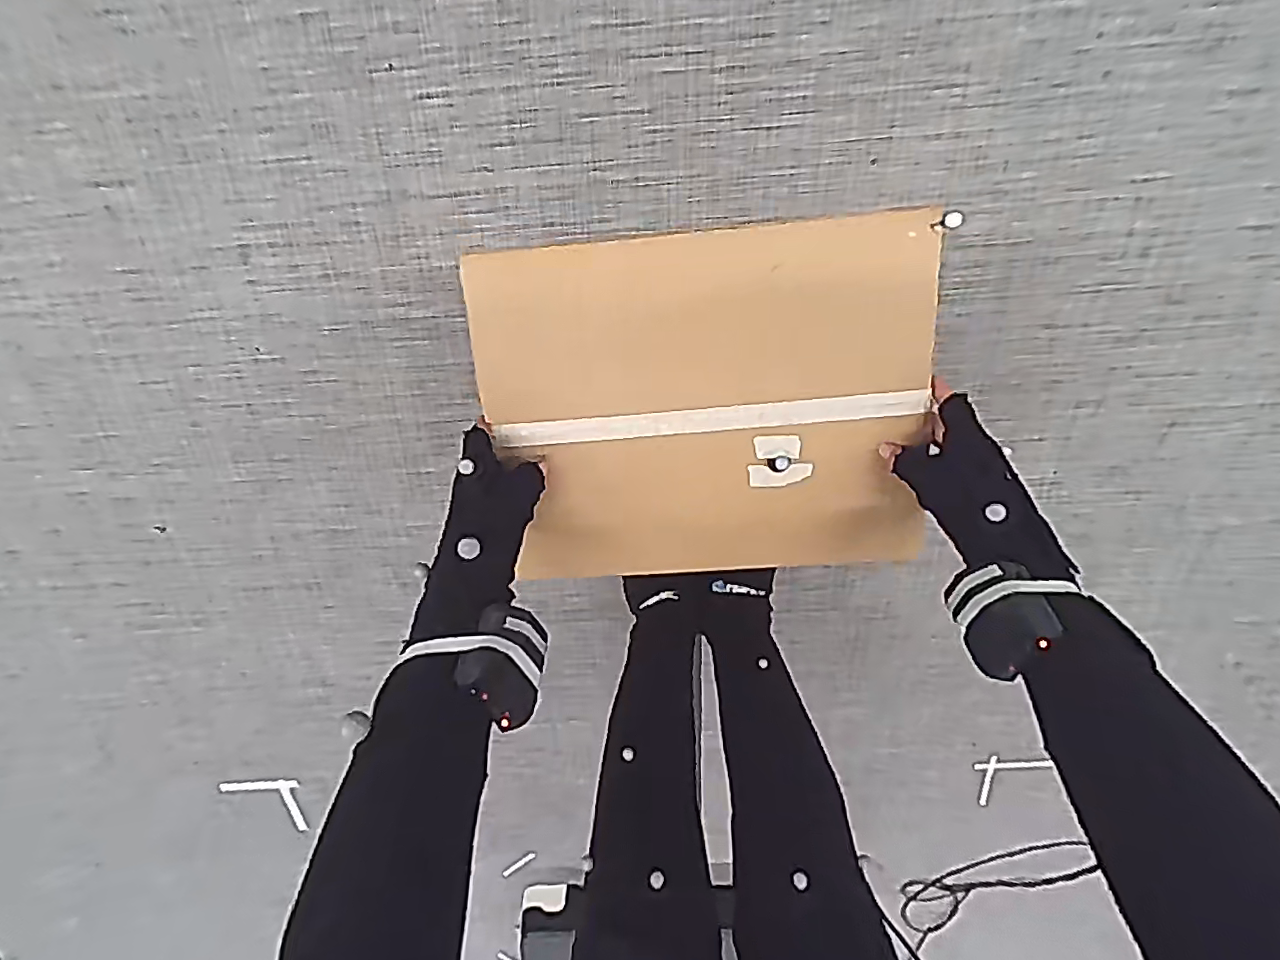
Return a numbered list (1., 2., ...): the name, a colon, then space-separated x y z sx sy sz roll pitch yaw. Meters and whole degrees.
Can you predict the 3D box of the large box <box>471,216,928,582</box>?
1. large box: 0.065 -0.100 0.650 0.408 0.320 0.320 -5 108 3
